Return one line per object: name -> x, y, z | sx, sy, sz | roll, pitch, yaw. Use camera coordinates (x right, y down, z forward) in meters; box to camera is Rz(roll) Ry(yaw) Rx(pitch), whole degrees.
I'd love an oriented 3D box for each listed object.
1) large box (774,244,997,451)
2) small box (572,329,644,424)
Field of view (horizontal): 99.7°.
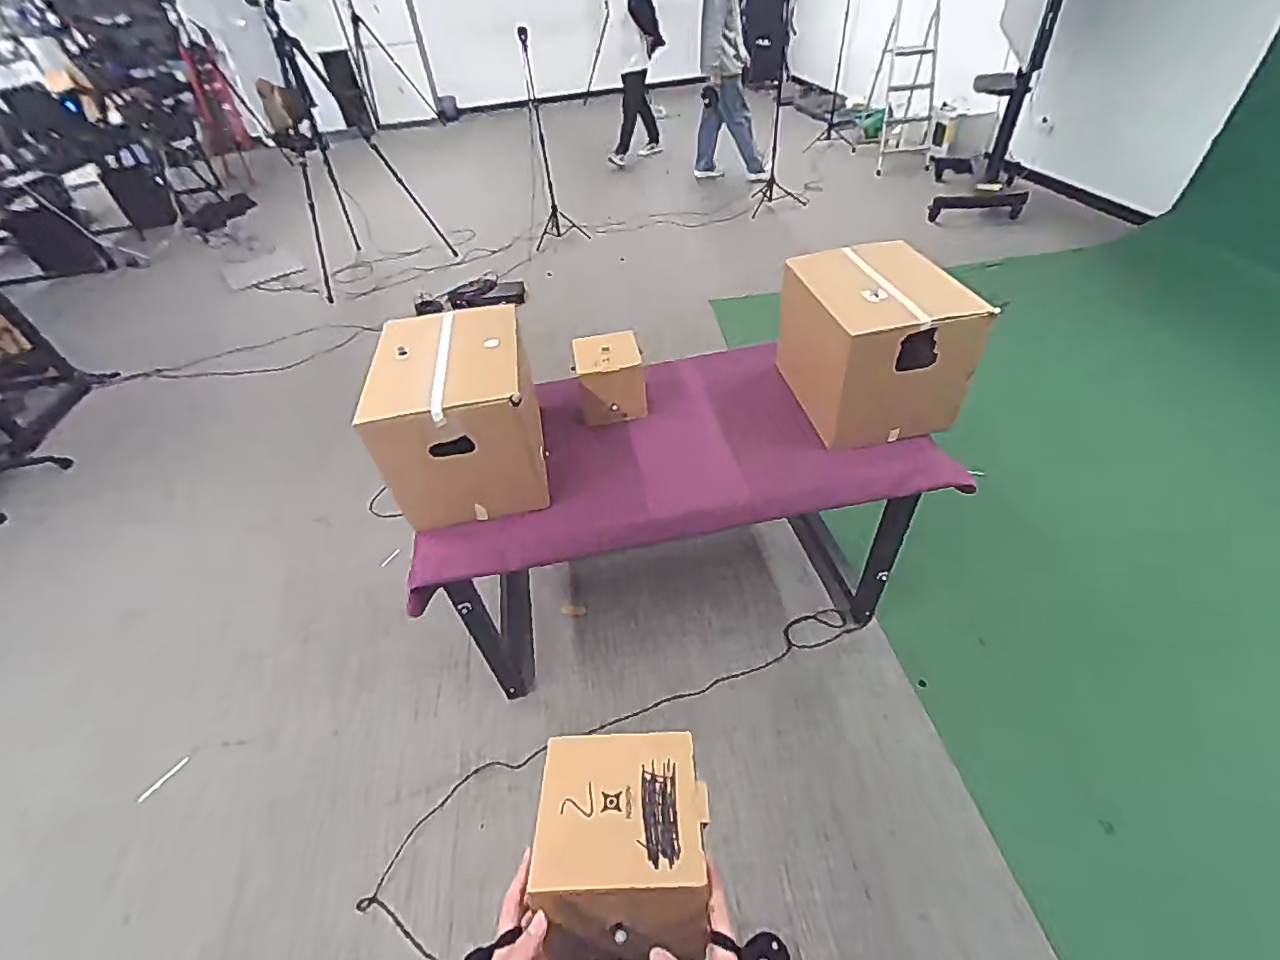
large box -> 0.553, -0.331, 1.325 | 0.320, 0.320, 0.408 | -10, 45, -2
small box -> -0.085, -0.274, 1.433 | 0.168, 0.176, 0.179 | -10, 45, -3
